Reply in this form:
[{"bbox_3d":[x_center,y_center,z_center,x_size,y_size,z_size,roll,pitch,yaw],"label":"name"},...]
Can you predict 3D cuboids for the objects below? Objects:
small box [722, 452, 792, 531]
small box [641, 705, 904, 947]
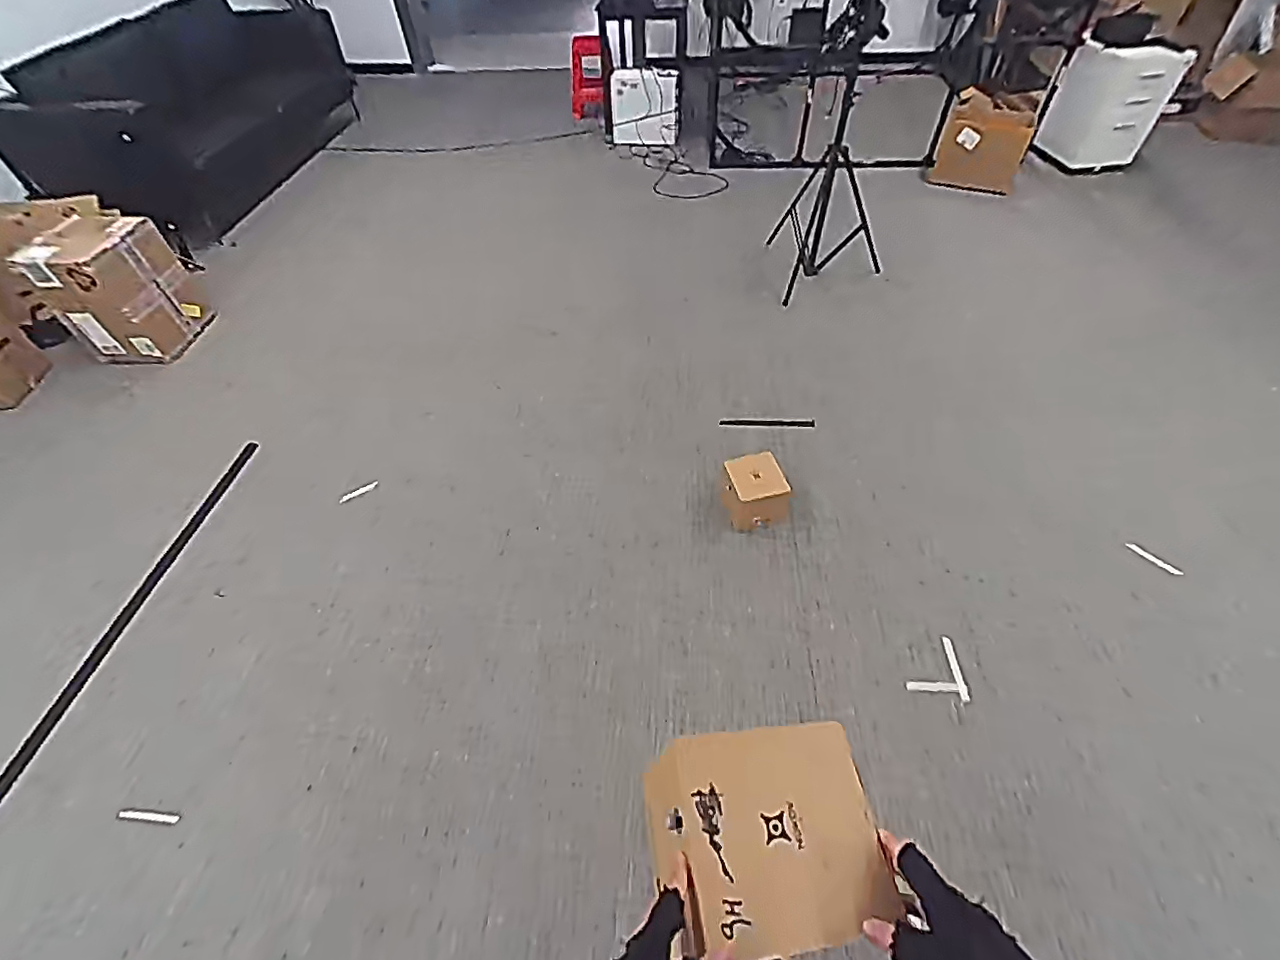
[{"bbox_3d":[0.376,0.039,1.779,0.168,0.176,0.179,-13,51,-6],"label":"small box"},{"bbox_3d":[0.109,0.337,0.531,0.179,0.176,0.168,0,49,-13],"label":"small box"}]
